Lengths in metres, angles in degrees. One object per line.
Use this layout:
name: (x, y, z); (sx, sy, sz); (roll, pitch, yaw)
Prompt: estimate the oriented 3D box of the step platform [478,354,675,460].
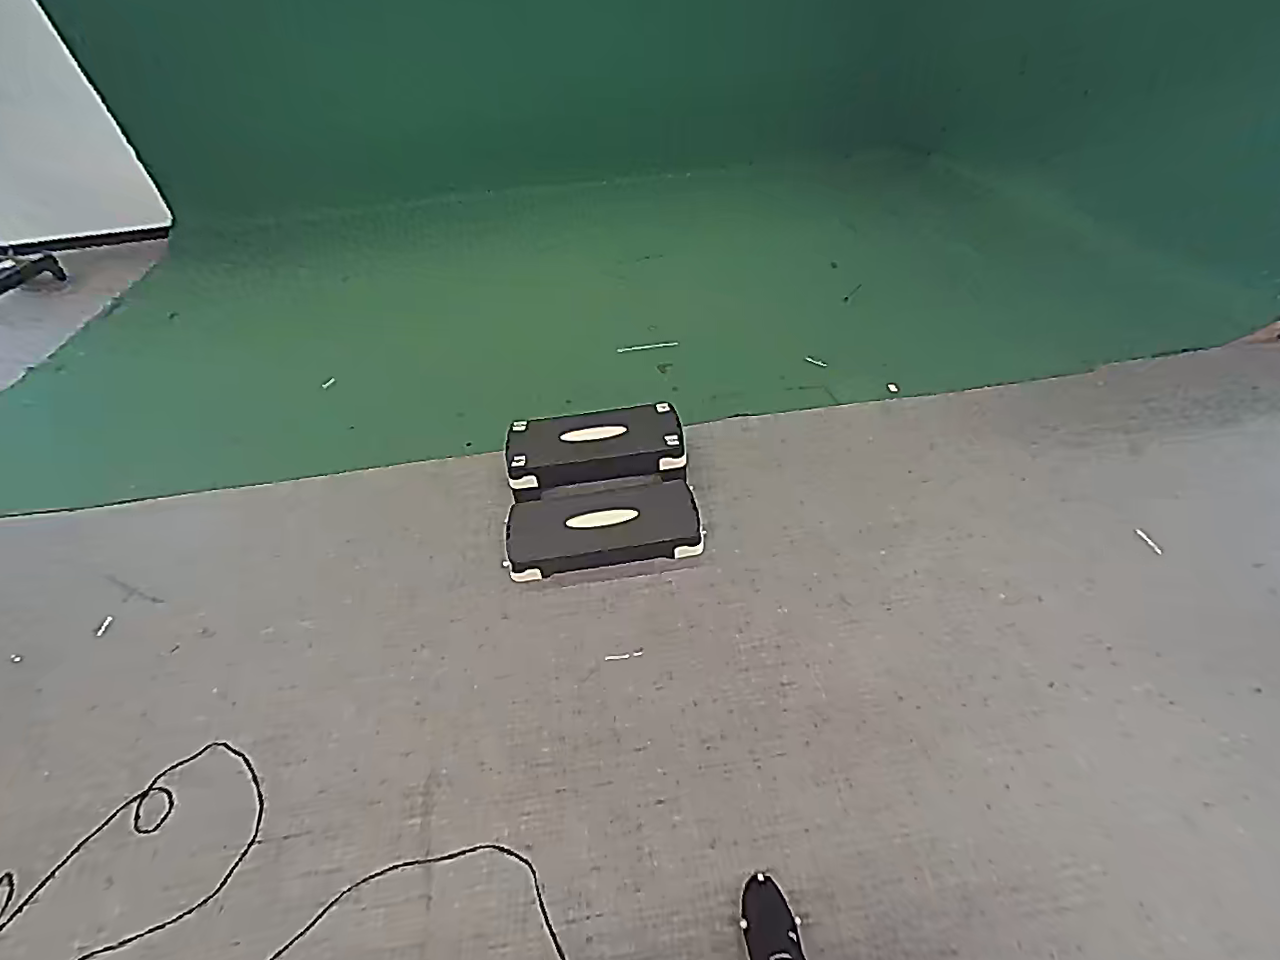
step platform: (-0.218, -0.268, 1.958); (0.684, 0.204, 0.286); (-8, 46, -3)
